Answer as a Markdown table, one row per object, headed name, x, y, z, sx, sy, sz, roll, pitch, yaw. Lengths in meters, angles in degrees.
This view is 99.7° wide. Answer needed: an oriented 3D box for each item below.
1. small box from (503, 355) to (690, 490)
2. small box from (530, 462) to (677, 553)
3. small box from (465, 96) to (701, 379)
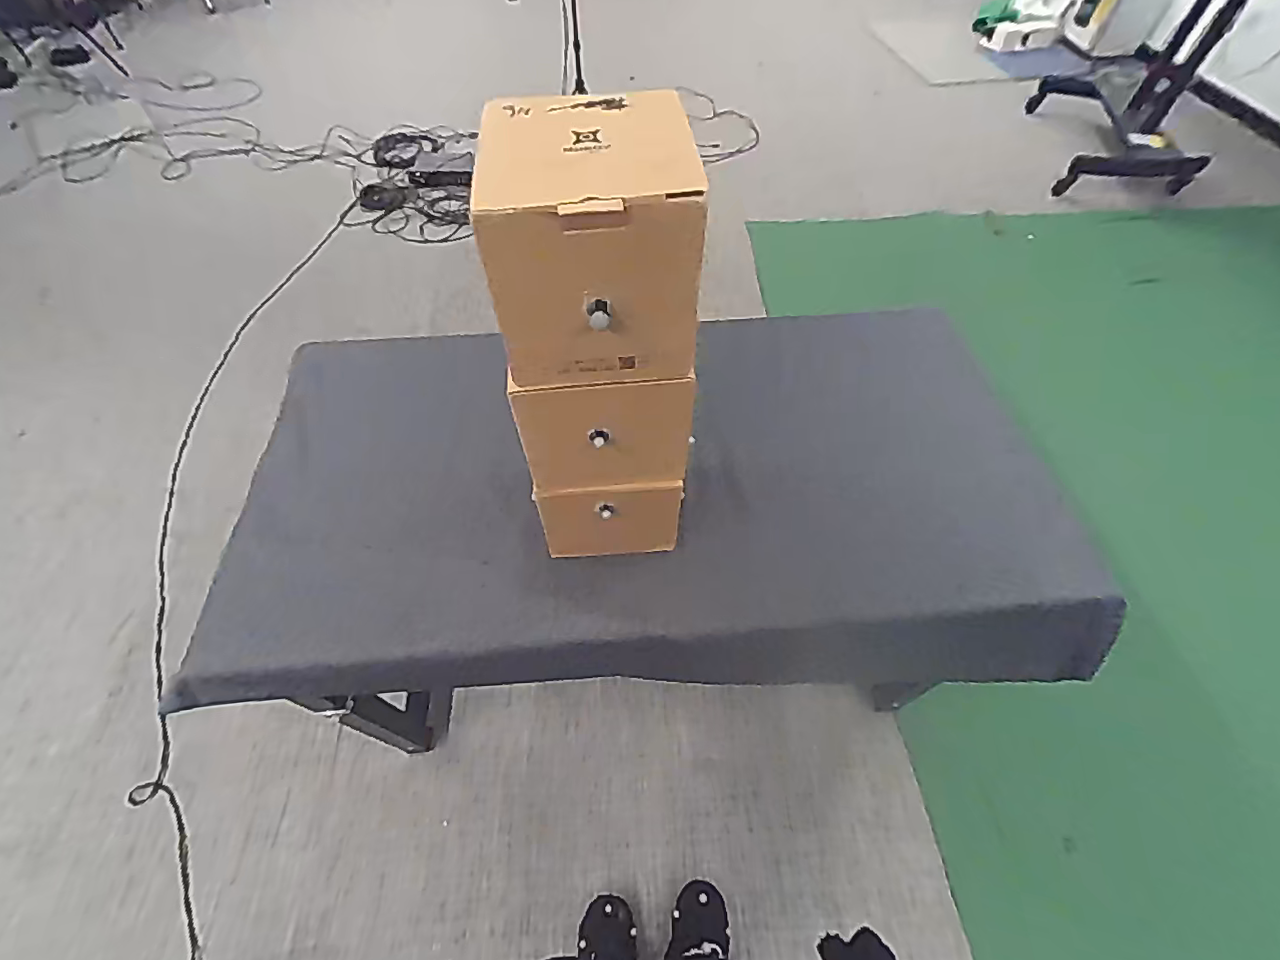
| name | x | y | z | sx | sy | sz | roll | pitch | yaw |
| --- | --- | --- | --- | --- | --- | --- | --- | --- | --- |
| small box | -0.047 | -0.104 | 0.607 | 0.179 | 0.176 | 0.168 | -5 | 56 | -3 |
| small box | -0.048 | -0.008 | 0.741 | 0.179 | 0.176 | 0.168 | -3 | 57 | -4 |
| small box | -0.044 | -0.202 | 0.477 | 0.168 | 0.176 | 0.179 | -4 | 57 | -3 |
